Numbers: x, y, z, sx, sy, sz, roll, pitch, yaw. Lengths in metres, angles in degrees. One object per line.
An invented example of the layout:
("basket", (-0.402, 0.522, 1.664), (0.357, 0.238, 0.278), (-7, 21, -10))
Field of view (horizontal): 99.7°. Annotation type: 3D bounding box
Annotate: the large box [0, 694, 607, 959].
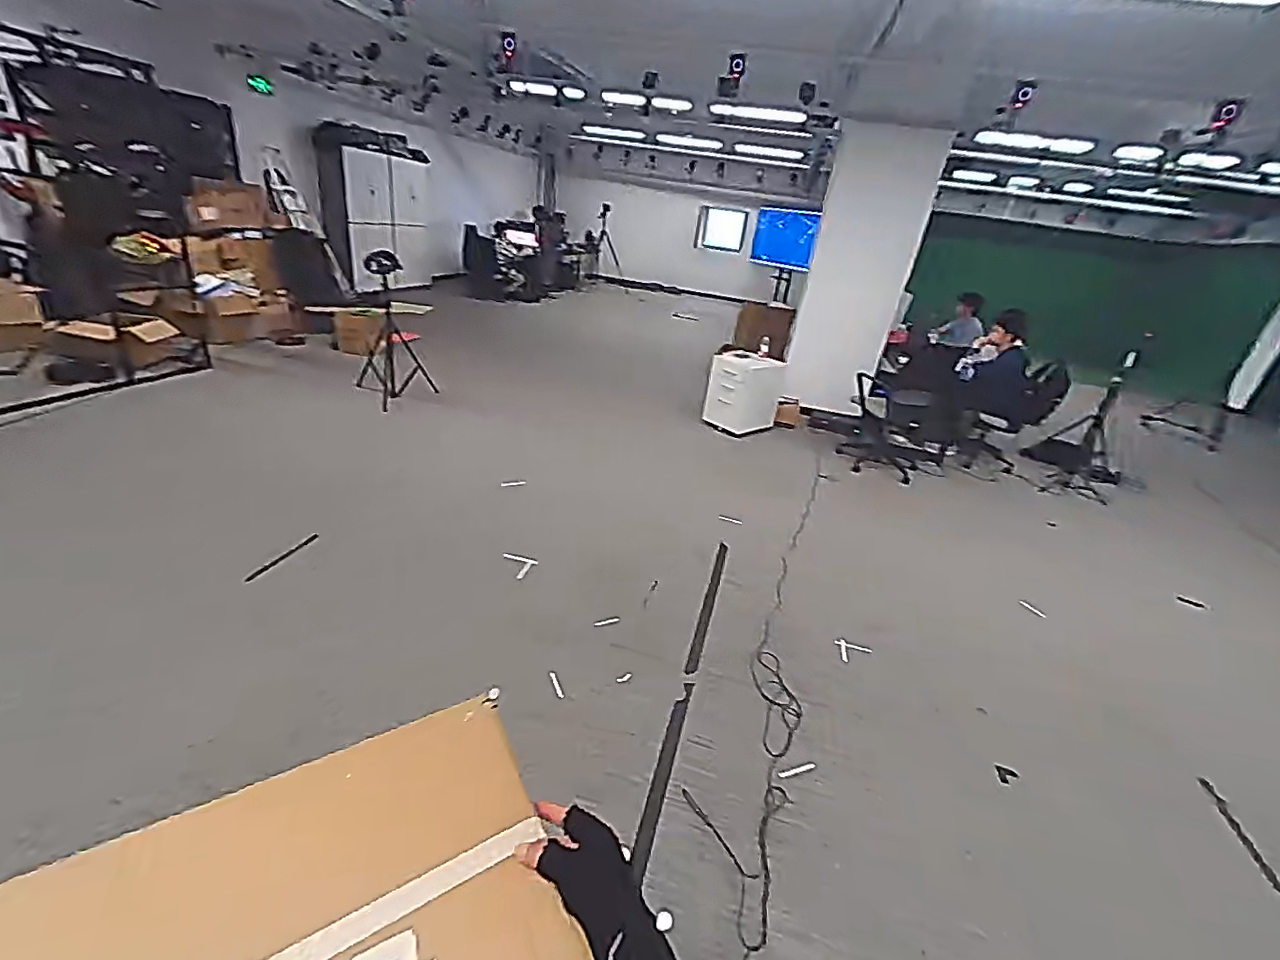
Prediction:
("large box", (-0.275, 0.486, 0.504), (0.408, 0.320, 0.320), (-12, 40, -28))
